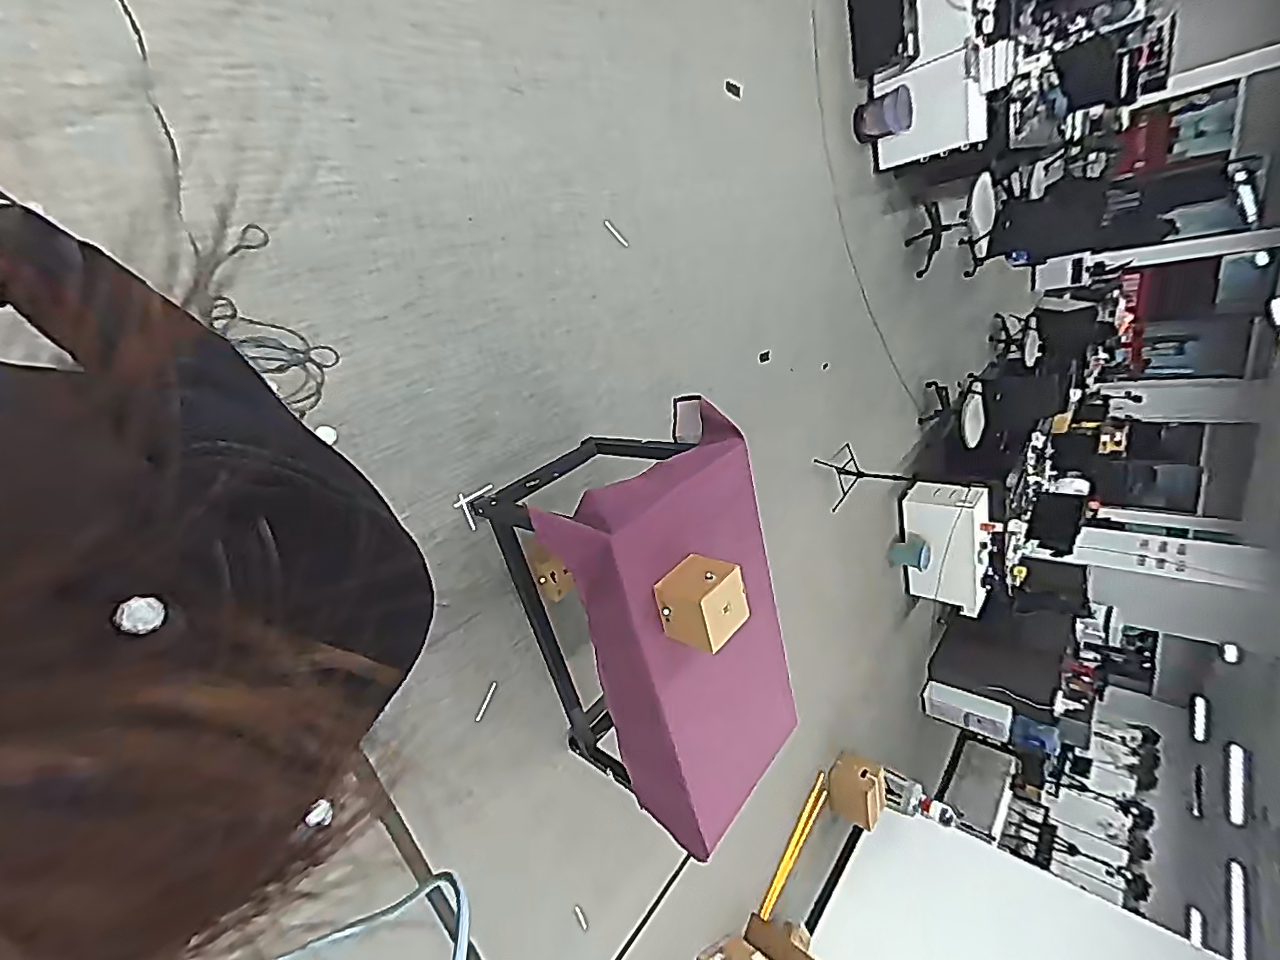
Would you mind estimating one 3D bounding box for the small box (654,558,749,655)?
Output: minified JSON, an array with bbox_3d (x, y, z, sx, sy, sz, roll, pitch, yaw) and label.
[{"bbox_3d":[0.165,0.328,1.443,0.179,0.176,0.168,-32,117,-38],"label":"small box"}]
